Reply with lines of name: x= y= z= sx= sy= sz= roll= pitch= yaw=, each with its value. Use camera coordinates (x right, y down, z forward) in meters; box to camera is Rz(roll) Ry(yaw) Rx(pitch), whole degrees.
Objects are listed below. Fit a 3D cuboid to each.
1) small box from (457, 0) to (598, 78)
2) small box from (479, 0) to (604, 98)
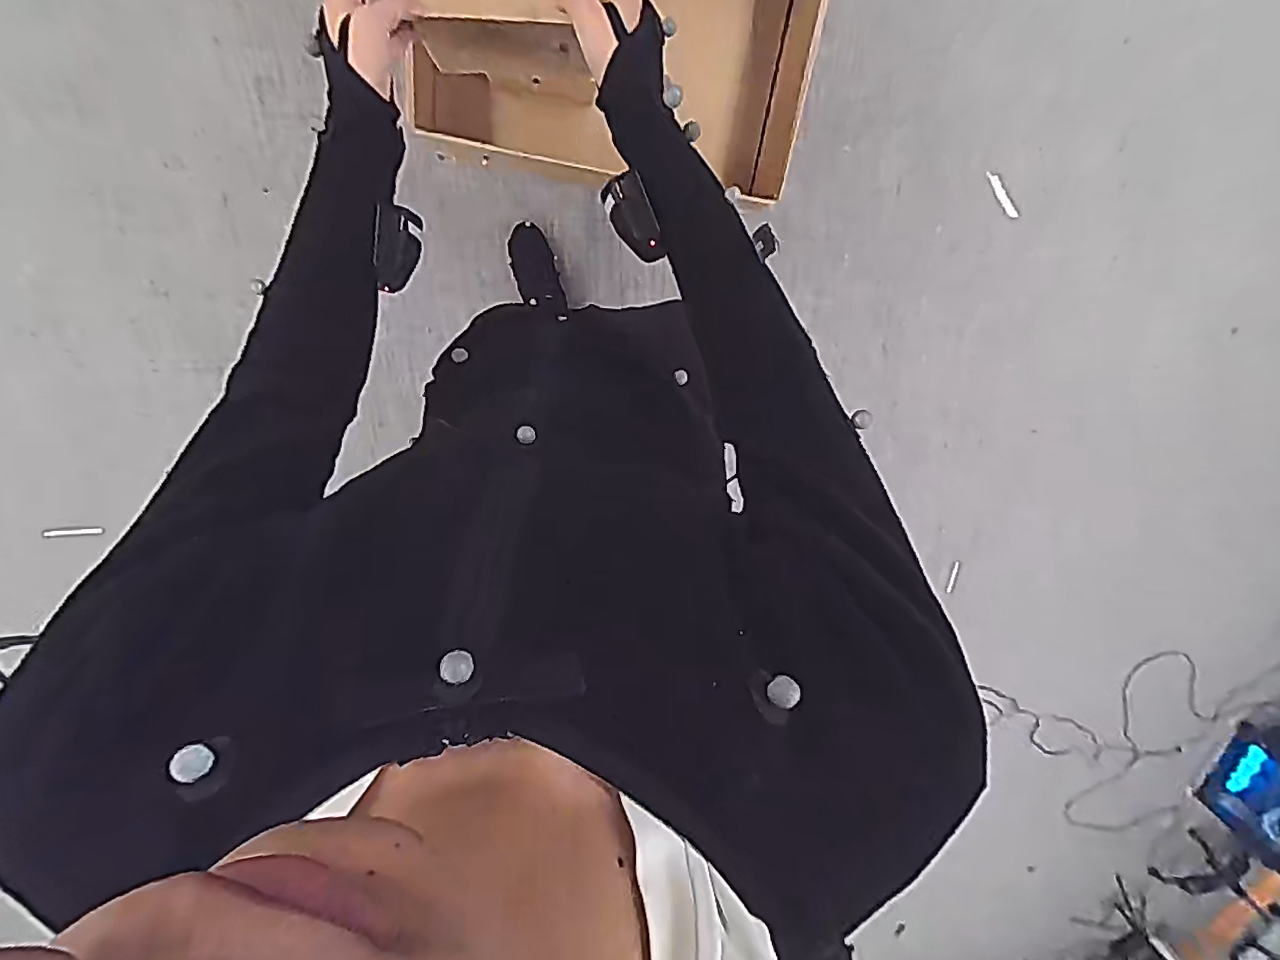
small box: x=-0.137 y=-0.642 z=0.682 sx=0.168 sy=0.176 sz=0.179 roll=0 pitch=115 yaw=-8
small box: x=-0.149 y=-0.710 z=0.831 sx=0.179 sy=0.176 sz=0.168 roll=2 pitch=115 yaw=-10
